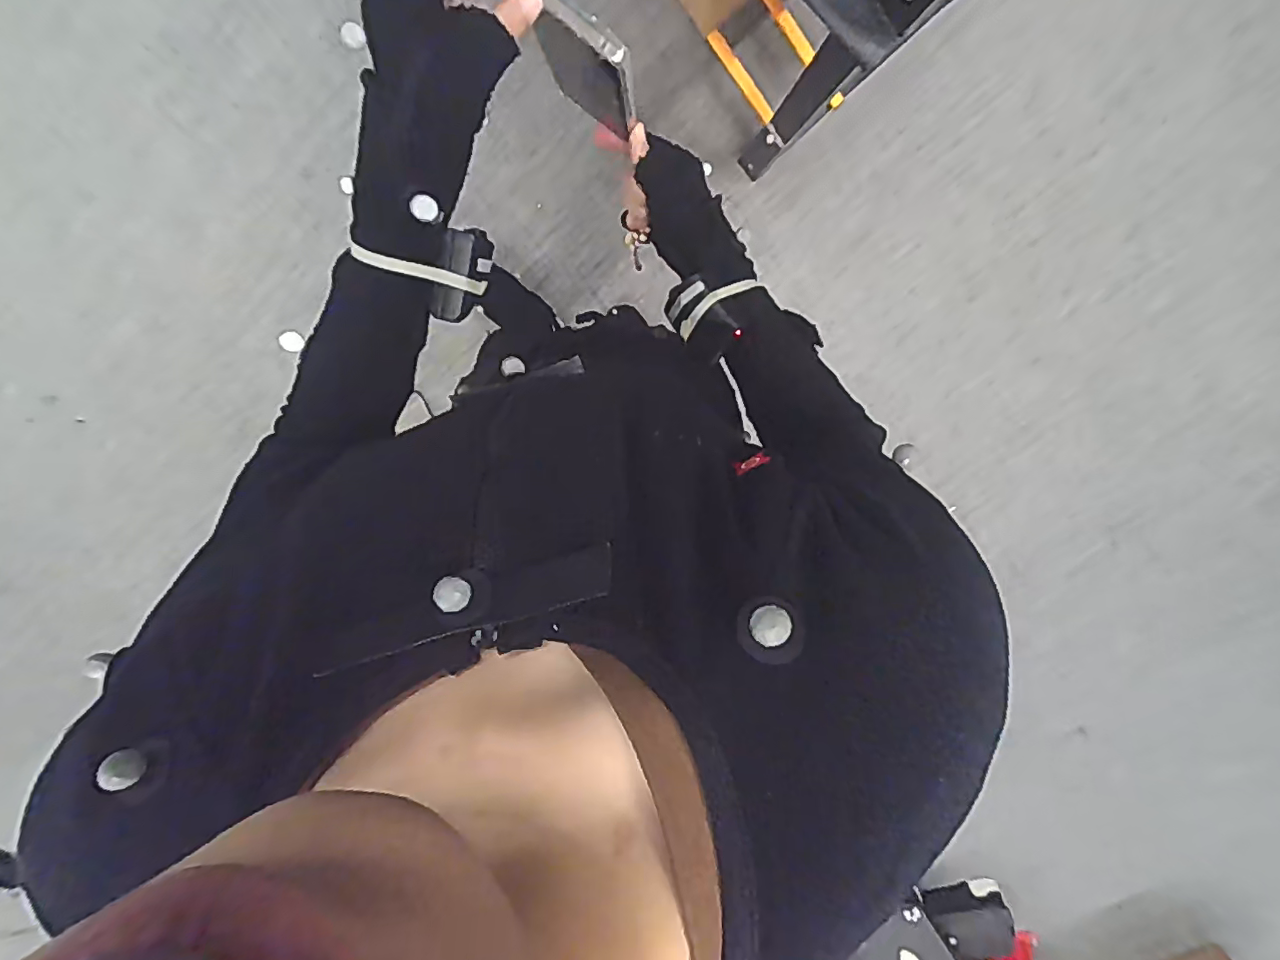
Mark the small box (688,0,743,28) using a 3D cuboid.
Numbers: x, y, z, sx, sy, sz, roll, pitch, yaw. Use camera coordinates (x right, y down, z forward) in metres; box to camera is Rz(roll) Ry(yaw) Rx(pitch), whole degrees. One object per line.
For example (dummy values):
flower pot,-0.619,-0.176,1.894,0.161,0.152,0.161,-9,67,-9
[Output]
small box,0.148,-0.975,0.968,0.179,0.176,0.168,-35,105,12
